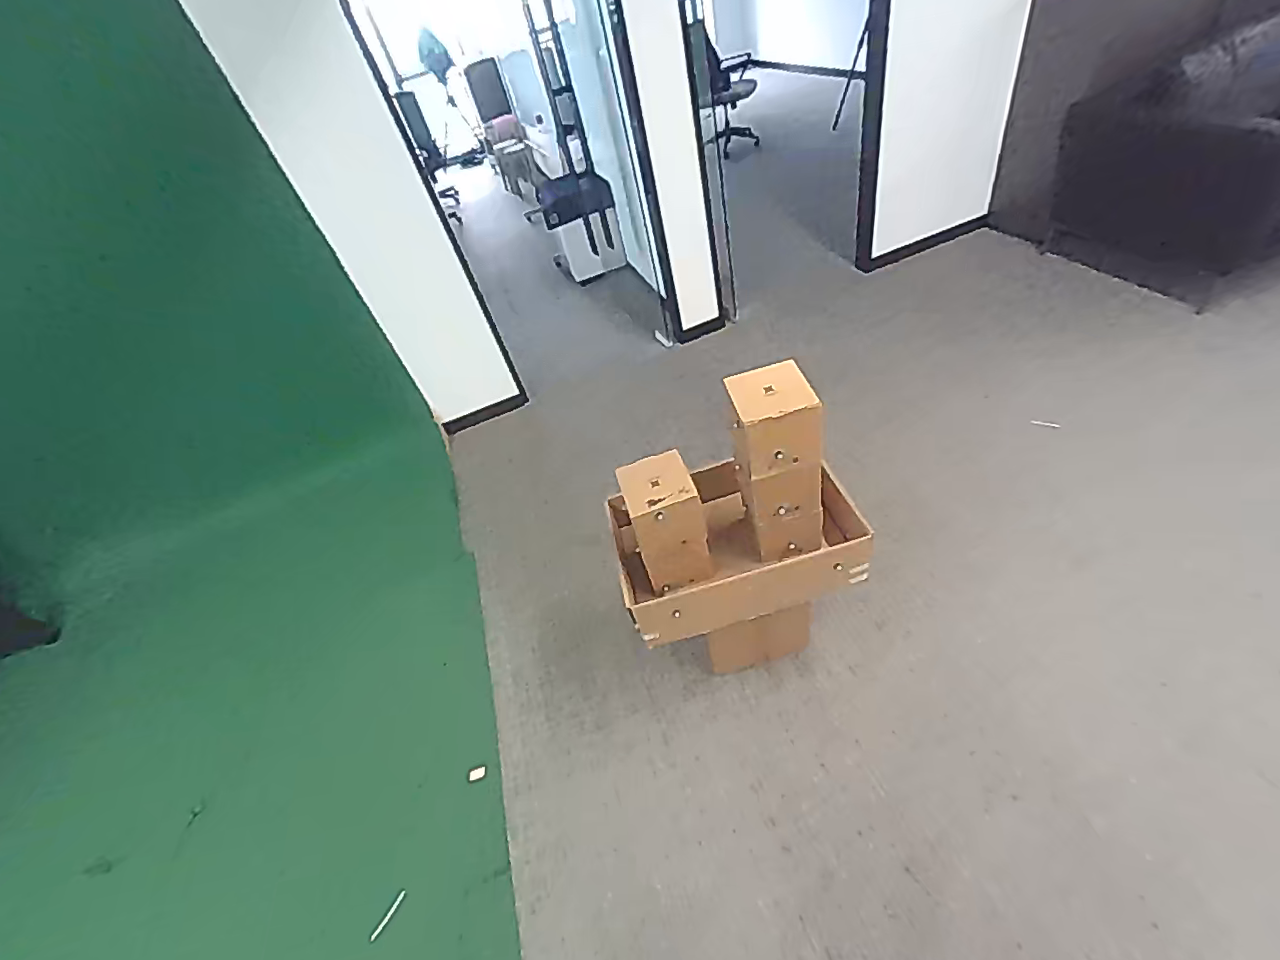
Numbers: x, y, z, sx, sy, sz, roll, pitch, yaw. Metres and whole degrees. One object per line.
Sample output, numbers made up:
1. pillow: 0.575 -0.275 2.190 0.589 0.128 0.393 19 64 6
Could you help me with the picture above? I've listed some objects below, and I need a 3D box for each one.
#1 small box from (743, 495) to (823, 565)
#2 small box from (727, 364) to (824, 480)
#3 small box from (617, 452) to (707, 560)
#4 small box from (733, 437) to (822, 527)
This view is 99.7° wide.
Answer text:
1. small box: 0.373 0.097 1.437 0.168 0.176 0.179 -14 44 3
2. small box: 0.301 -0.130 1.216 0.168 0.176 0.179 -15 44 3
3. small box: 0.054 0.065 1.329 0.168 0.176 0.179 -19 43 -1
4. small box: 0.334 -0.015 1.325 0.168 0.176 0.179 -15 43 3
